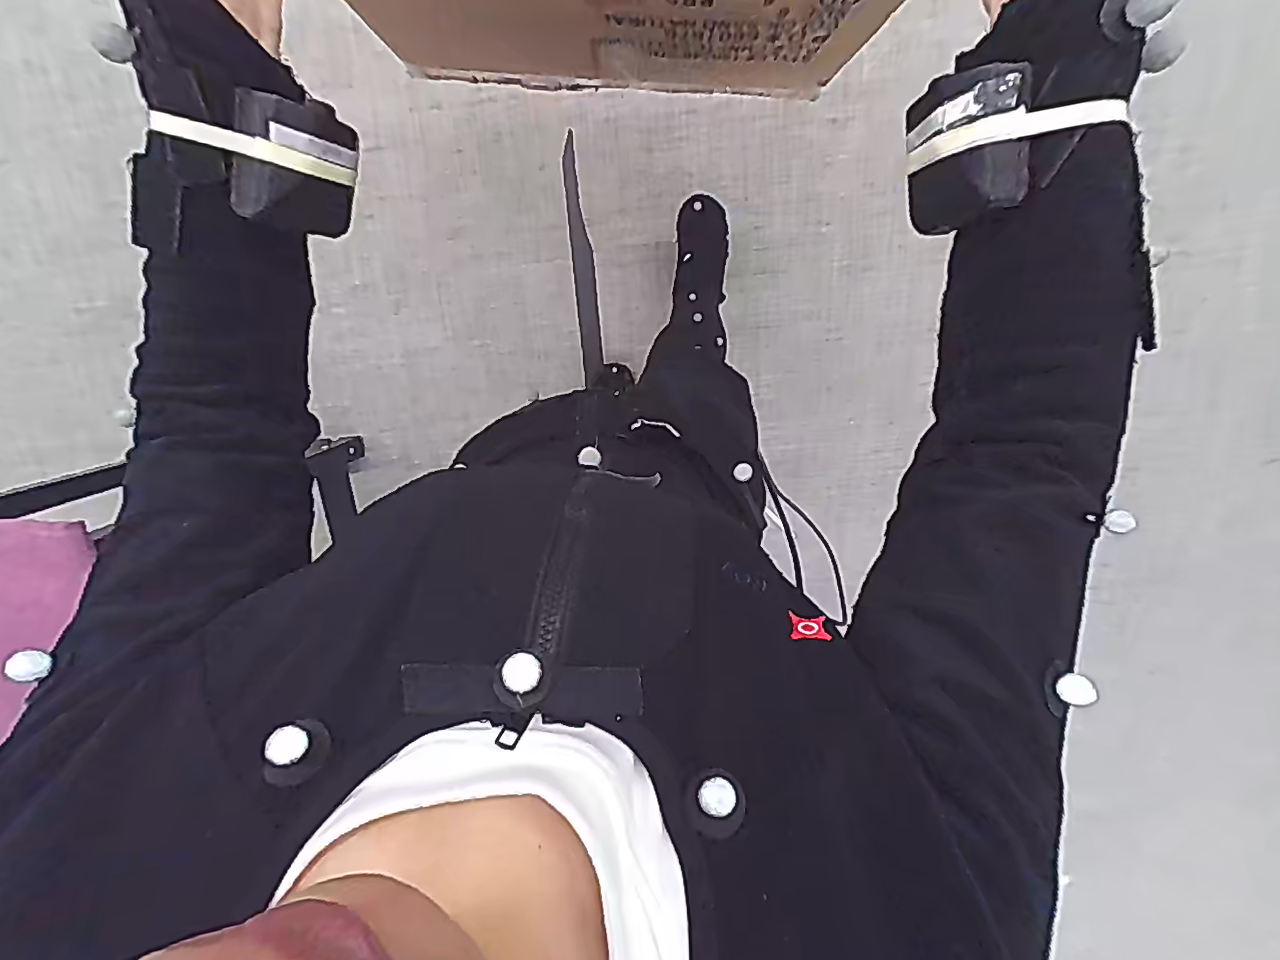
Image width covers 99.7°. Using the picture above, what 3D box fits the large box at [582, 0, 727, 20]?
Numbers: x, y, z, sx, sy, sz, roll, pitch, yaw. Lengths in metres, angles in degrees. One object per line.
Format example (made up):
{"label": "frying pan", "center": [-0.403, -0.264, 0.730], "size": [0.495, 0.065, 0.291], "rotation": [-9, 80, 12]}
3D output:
{"label": "large box", "center": [0.015, -1.117, 0.923], "size": [0.320, 0.320, 0.408], "rotation": [-6, 106, 2]}
